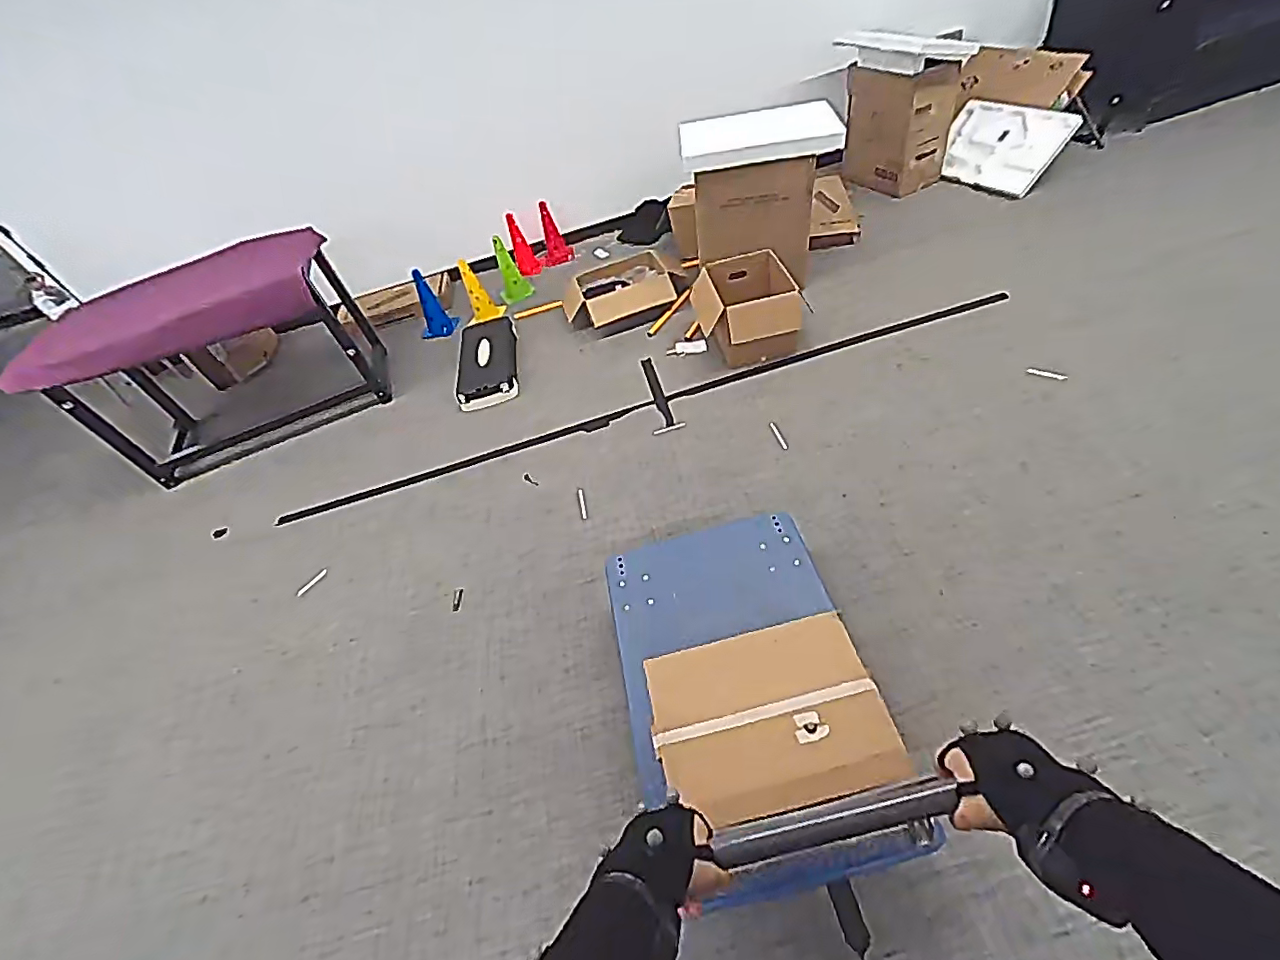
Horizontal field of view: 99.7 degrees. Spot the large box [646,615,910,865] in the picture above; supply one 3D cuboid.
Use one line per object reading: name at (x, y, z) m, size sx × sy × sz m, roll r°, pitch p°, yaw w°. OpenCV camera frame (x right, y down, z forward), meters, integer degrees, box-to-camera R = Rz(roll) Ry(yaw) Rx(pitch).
large box at (0.256, 0.531, 1.101) m, size 0.408 × 0.320 × 0.320 m, roll -15°, pitch 47°, yaw 0°
